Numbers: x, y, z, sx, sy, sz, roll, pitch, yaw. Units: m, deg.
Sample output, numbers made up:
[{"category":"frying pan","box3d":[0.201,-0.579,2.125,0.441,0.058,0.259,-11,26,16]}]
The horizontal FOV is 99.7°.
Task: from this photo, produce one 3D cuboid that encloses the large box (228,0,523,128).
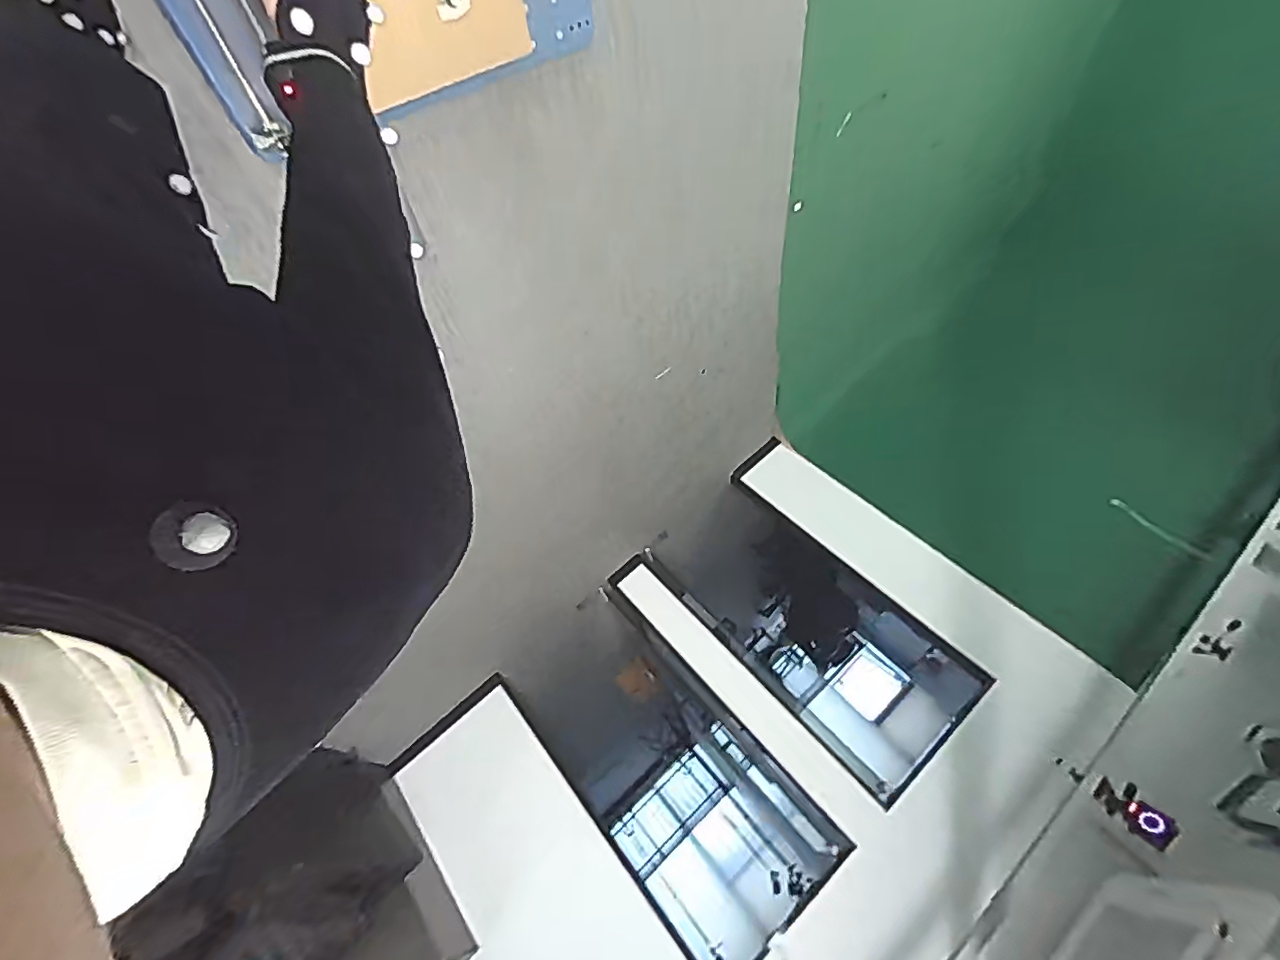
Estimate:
[{"category":"large box","box3d":[-0.485,-0.879,0.926,0.408,0.320,0.320,-38,149,-19]}]
